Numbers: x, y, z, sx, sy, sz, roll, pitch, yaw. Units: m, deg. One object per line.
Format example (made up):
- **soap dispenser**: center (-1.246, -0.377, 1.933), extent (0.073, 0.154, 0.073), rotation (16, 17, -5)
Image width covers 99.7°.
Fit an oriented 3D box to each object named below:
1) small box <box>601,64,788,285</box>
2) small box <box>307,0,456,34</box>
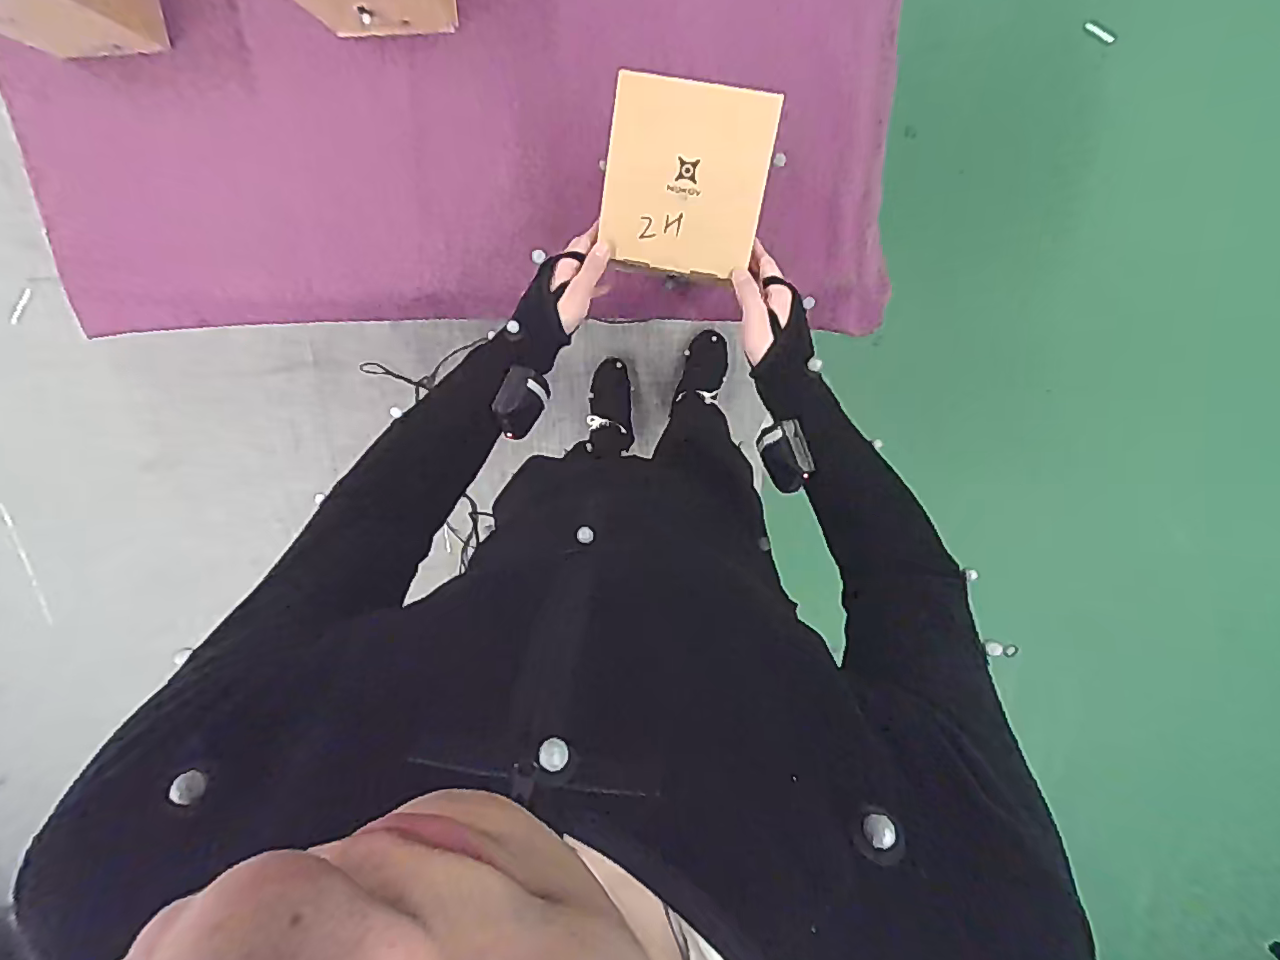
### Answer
- **small box**: center (0.058, -0.334, 0.626), extent (0.168, 0.176, 0.179), rotation (10, 108, 3)
- **small box**: center (-0.321, -0.640, 0.601), extent (0.168, 0.176, 0.179), rotation (0, 109, 3)
